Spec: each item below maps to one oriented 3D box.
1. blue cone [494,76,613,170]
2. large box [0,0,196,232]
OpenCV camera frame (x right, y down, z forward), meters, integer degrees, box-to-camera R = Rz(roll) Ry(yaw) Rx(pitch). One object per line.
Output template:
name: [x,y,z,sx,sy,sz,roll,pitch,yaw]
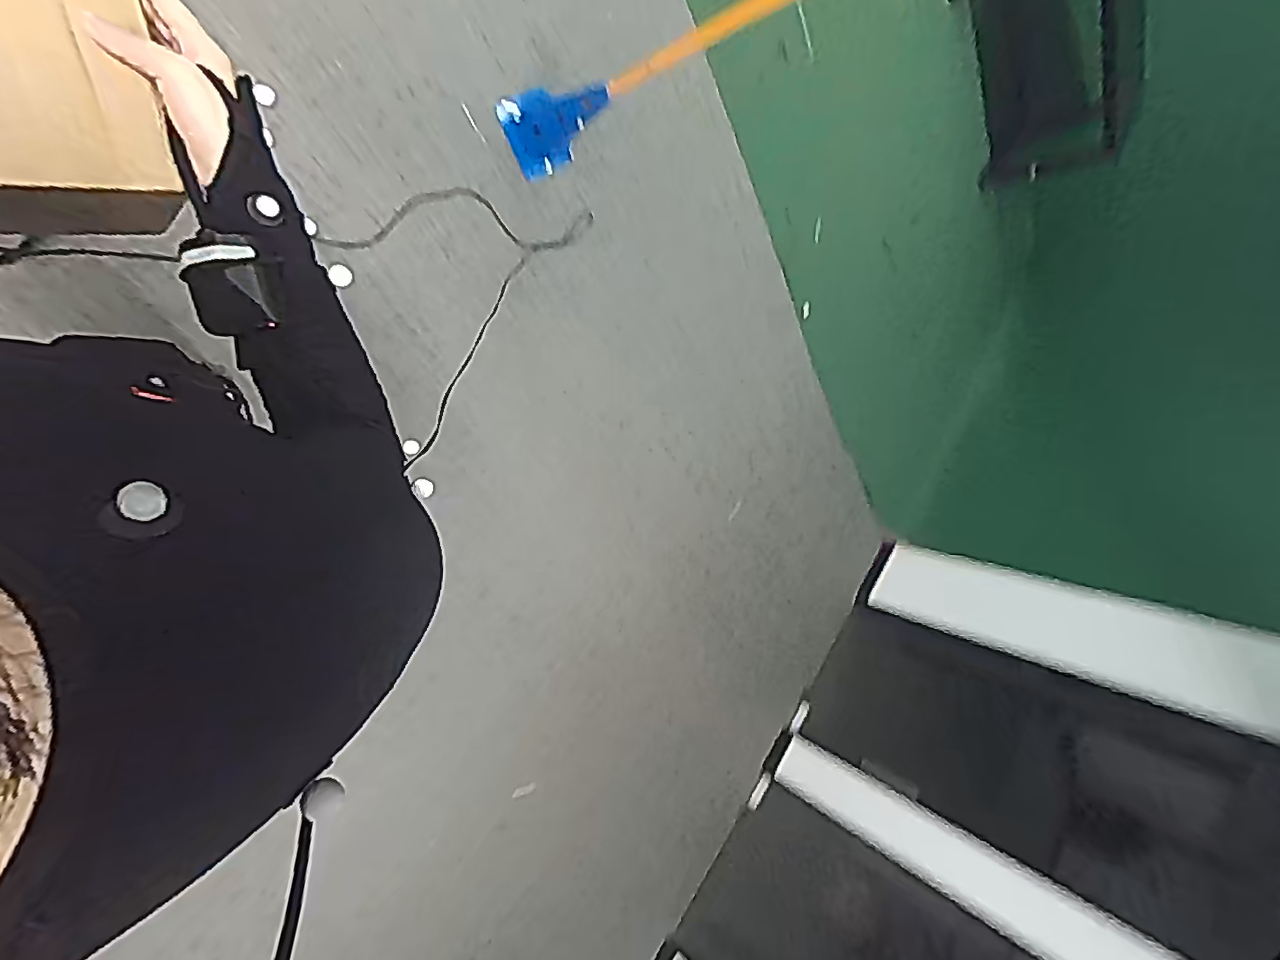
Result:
blue cone: [-0.212,-1.001,1.462,0.192,0.380,0.193,-44,125,-28]
large box: [-0.583,-0.333,0.324,0.408,0.320,0.320,-21,117,-40]
